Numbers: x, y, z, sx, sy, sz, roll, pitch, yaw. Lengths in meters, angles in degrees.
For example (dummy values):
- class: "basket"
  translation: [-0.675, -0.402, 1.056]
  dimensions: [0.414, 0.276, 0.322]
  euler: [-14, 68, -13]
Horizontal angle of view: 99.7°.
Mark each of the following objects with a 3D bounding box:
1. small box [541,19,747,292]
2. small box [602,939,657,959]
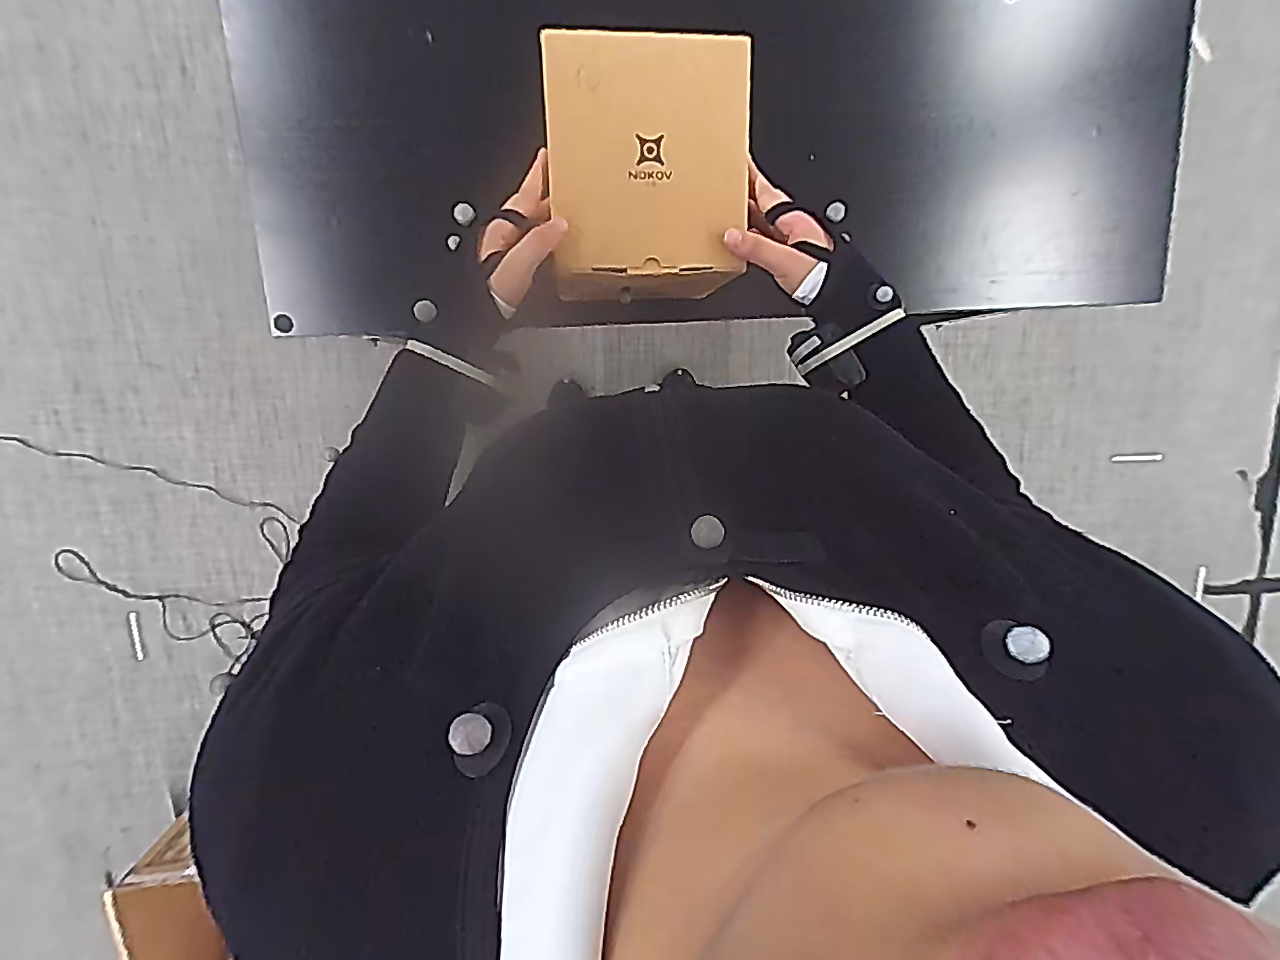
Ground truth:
- class: "small box"
  translation: [-0.004, -0.282, 0.511]
  dimensions: [0.168, 0.176, 0.179]
  euler: [-3, 102, -6]
- class: "small box"
  translation: [-0.032, 1.545, 1.646]
  dimensions: [0.168, 0.176, 0.179]
  euler: [1, 98, -5]
